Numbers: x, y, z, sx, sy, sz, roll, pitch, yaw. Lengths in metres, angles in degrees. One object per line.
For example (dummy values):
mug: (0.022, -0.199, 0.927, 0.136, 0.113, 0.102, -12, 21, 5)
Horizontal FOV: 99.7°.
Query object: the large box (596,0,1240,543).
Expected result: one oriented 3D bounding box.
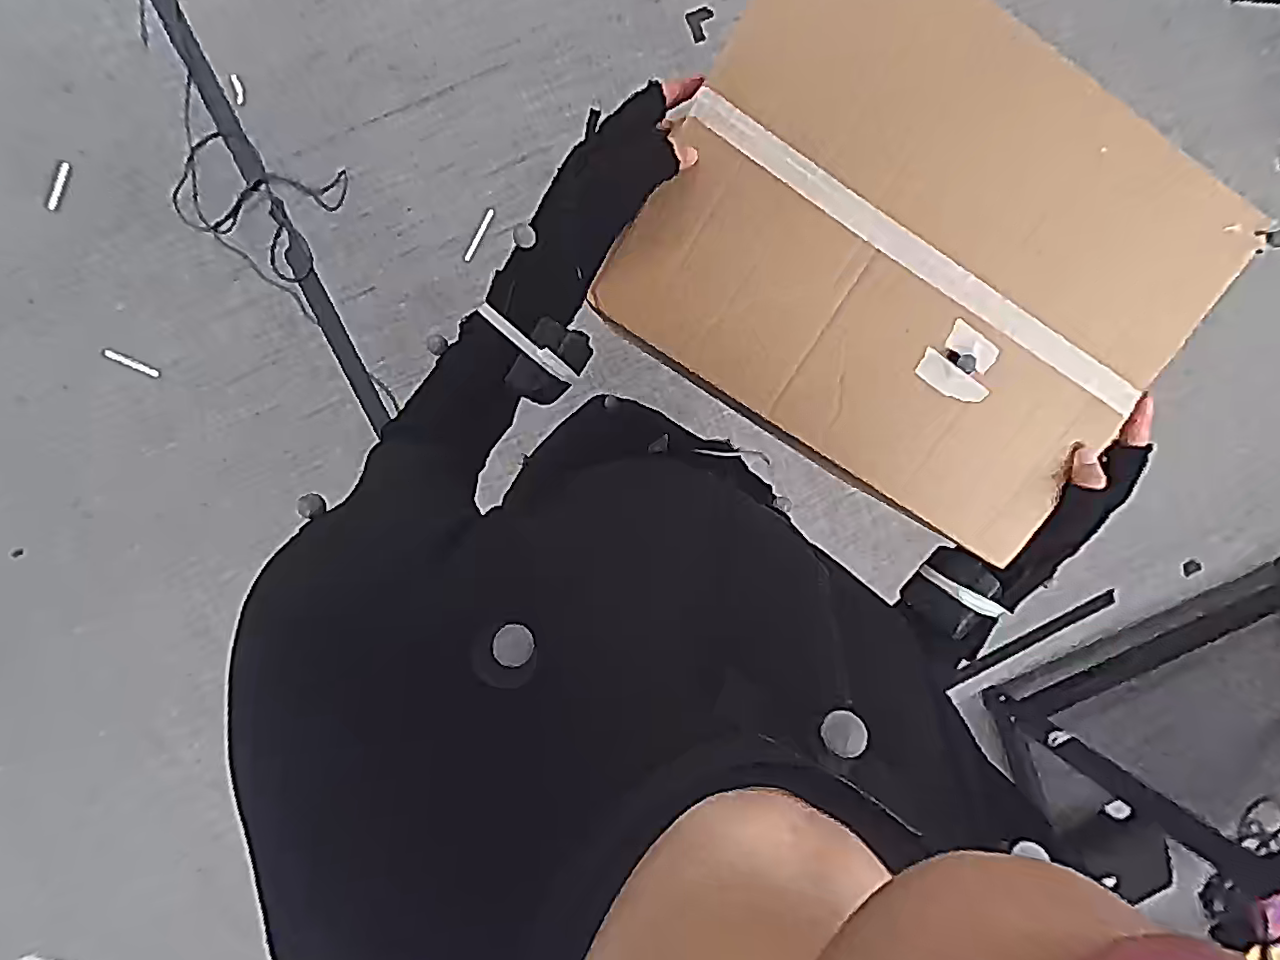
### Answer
large box: (0.207, -0.201, 0.558, 0.408, 0.320, 0.320, 32, 101, -7)
